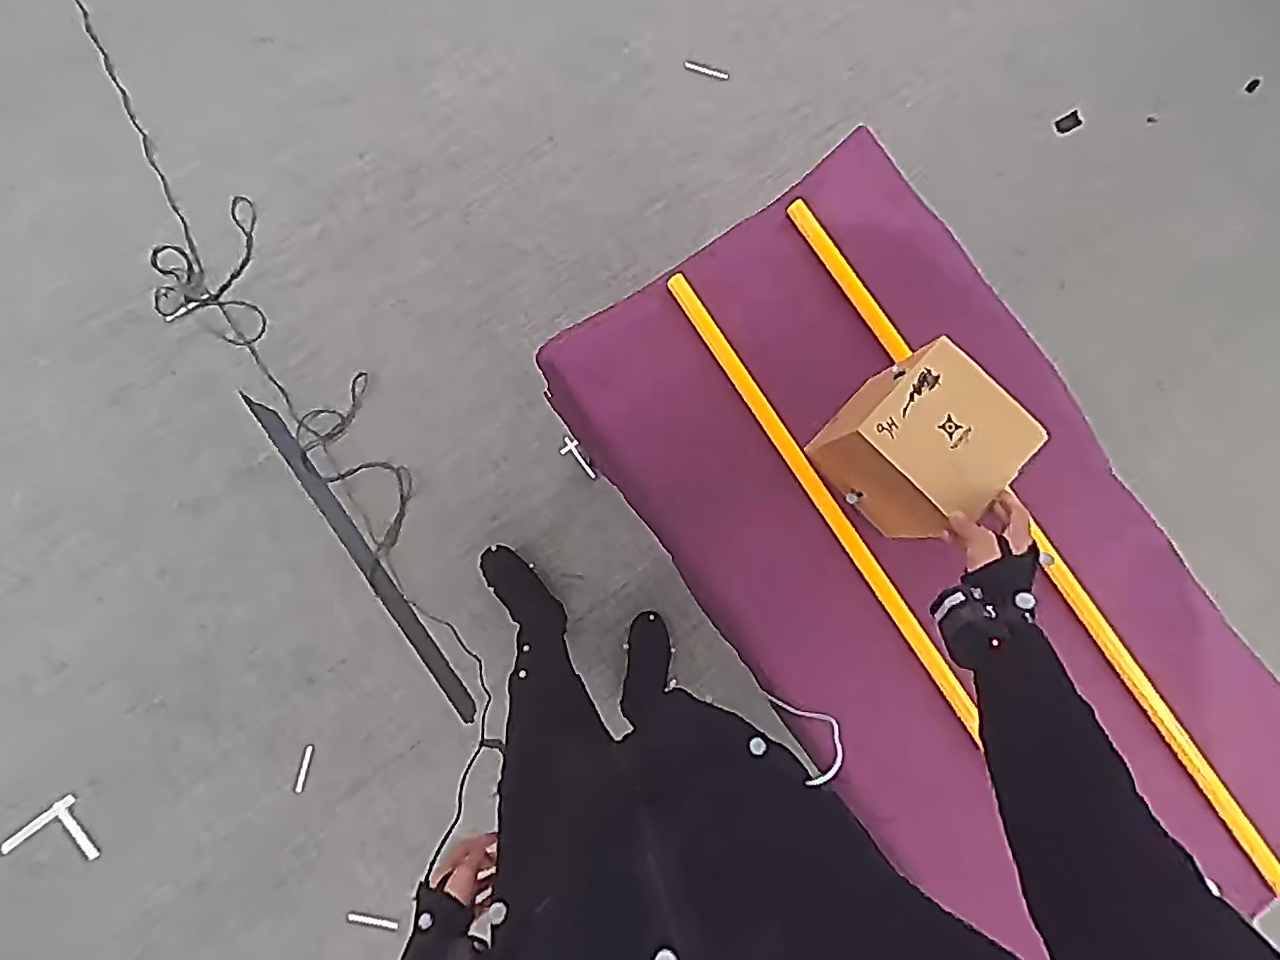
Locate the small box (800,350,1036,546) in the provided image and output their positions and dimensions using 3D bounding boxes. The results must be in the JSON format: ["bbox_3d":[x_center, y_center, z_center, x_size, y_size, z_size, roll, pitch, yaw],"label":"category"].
[{"bbox_3d":[0.350,-0.034,0.713,0.179,0.176,0.168,45,82,0],"label":"small box"}]
